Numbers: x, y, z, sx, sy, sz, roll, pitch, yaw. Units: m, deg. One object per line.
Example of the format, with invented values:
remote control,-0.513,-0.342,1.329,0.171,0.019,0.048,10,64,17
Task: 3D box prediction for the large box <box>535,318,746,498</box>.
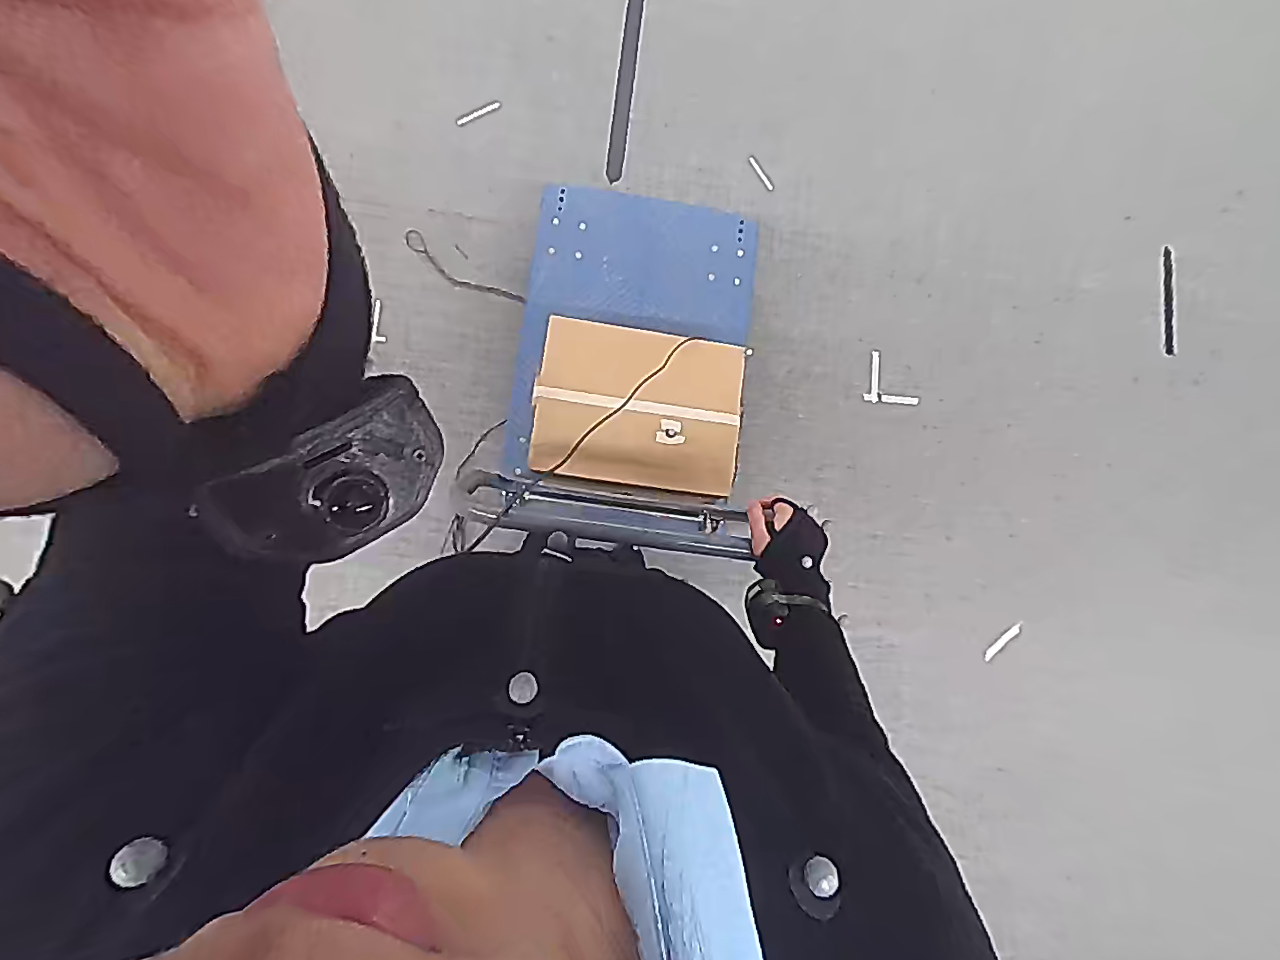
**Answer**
large box,-0.011,-0.139,1.228,0.408,0.320,0.320,8,85,-6
